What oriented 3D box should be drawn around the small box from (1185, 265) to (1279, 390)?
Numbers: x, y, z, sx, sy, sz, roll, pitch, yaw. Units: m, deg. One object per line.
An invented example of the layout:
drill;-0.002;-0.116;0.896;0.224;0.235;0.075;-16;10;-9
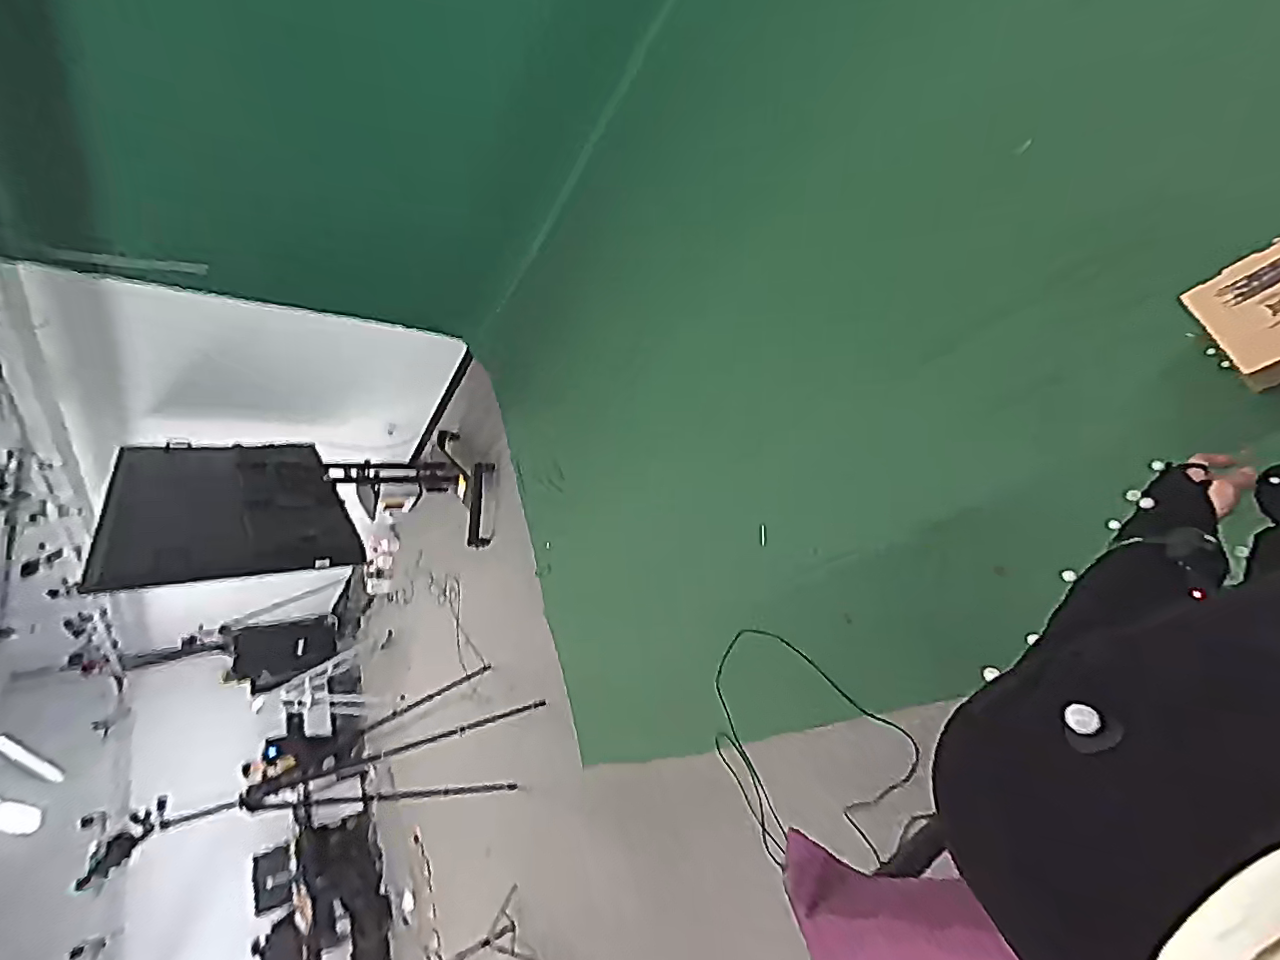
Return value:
small box;1.213;-0.286;1.035;0.168;0.176;0.179;-40;60;43
